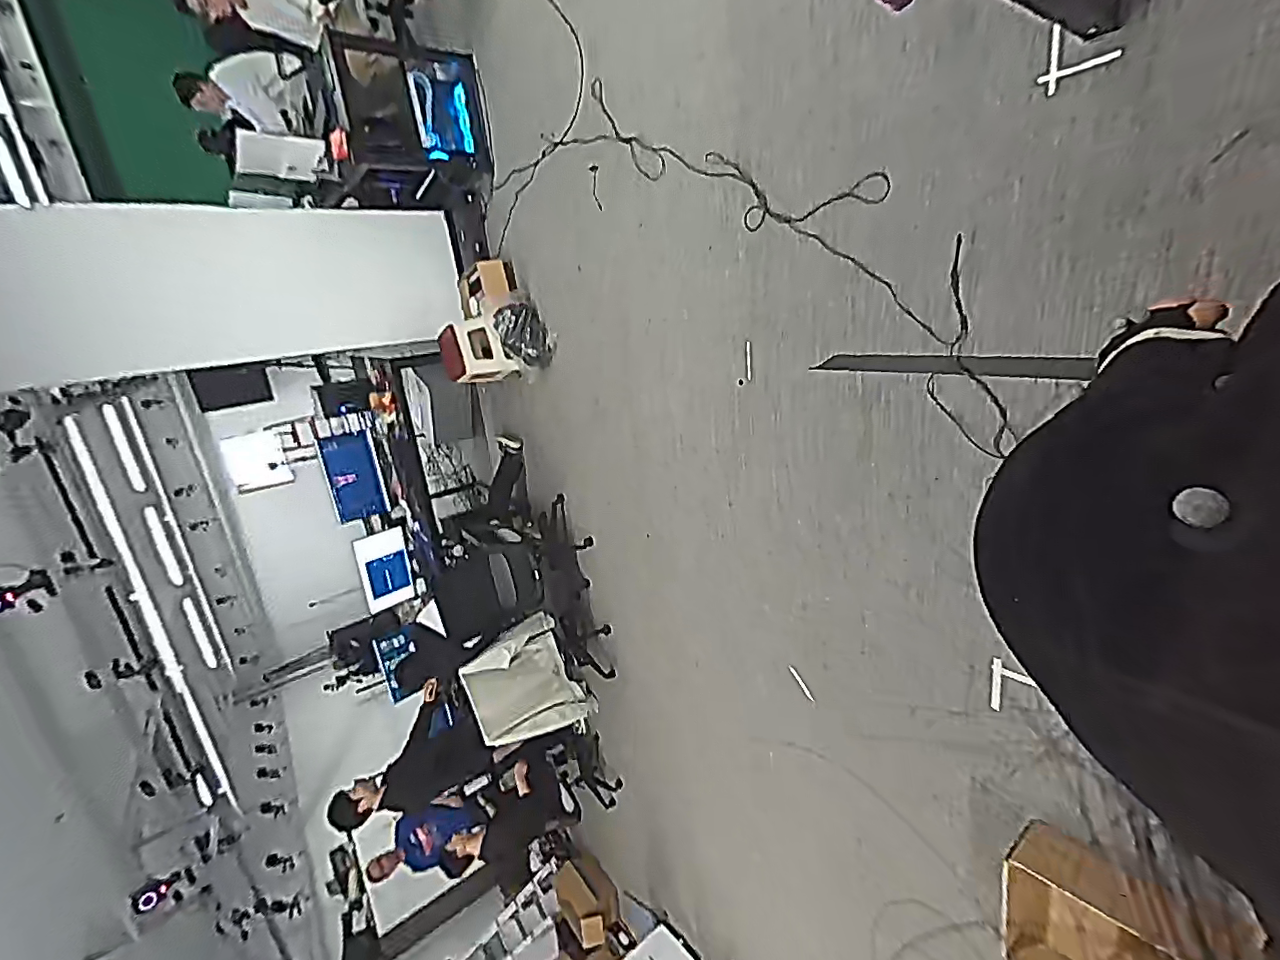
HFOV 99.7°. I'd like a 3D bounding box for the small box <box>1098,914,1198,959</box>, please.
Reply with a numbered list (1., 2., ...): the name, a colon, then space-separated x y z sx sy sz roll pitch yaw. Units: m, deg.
1. small box: 1.254 1.243 1.331 0.168 0.176 0.179 8 112 53
